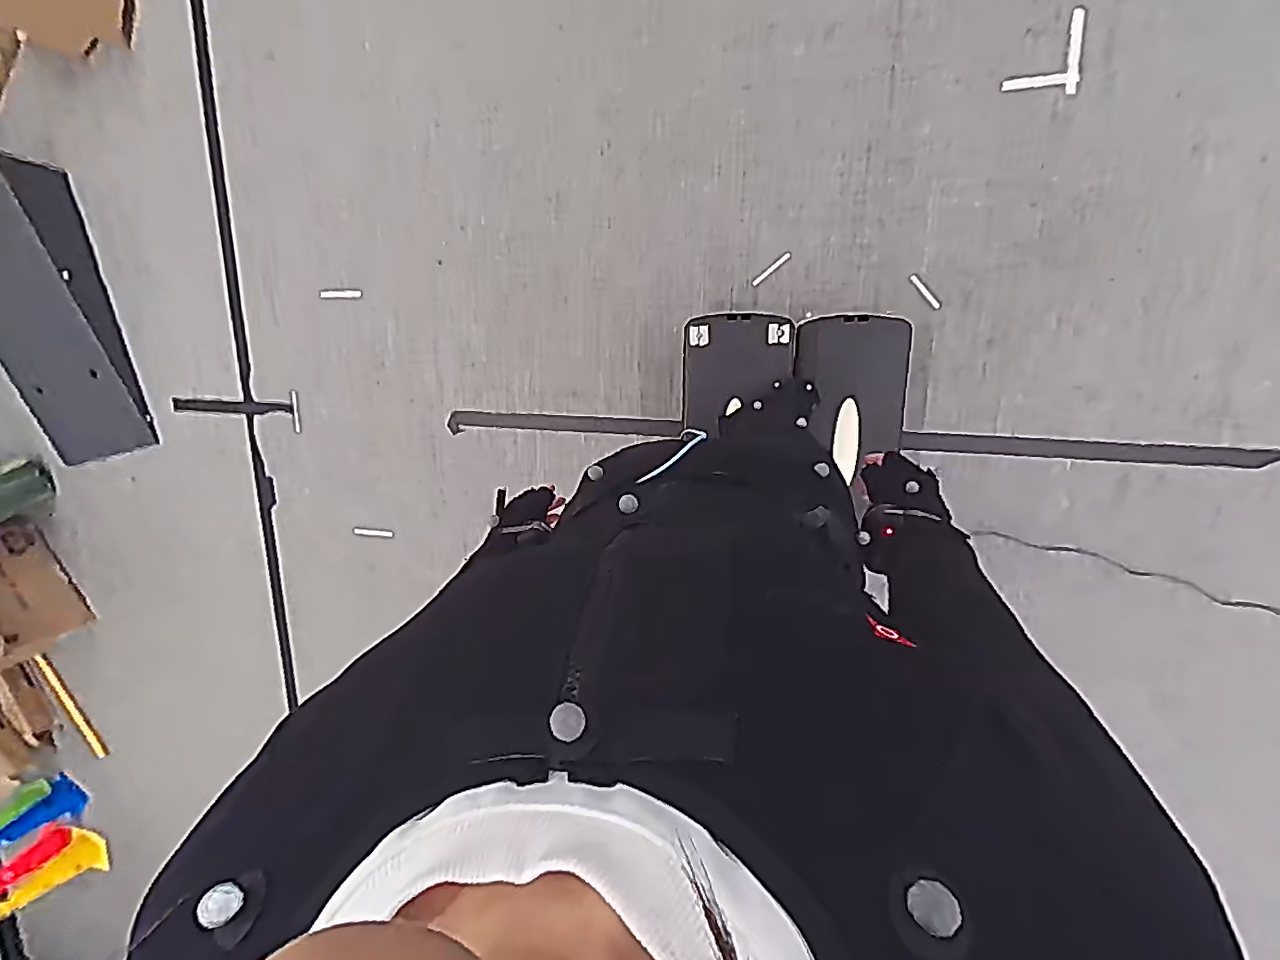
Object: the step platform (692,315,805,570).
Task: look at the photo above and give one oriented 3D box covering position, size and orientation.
[{"bbox_3d":[0.289,-0.098,1.480,0.286,0.204,0.684,2,100,12],"label":"step platform"}]
